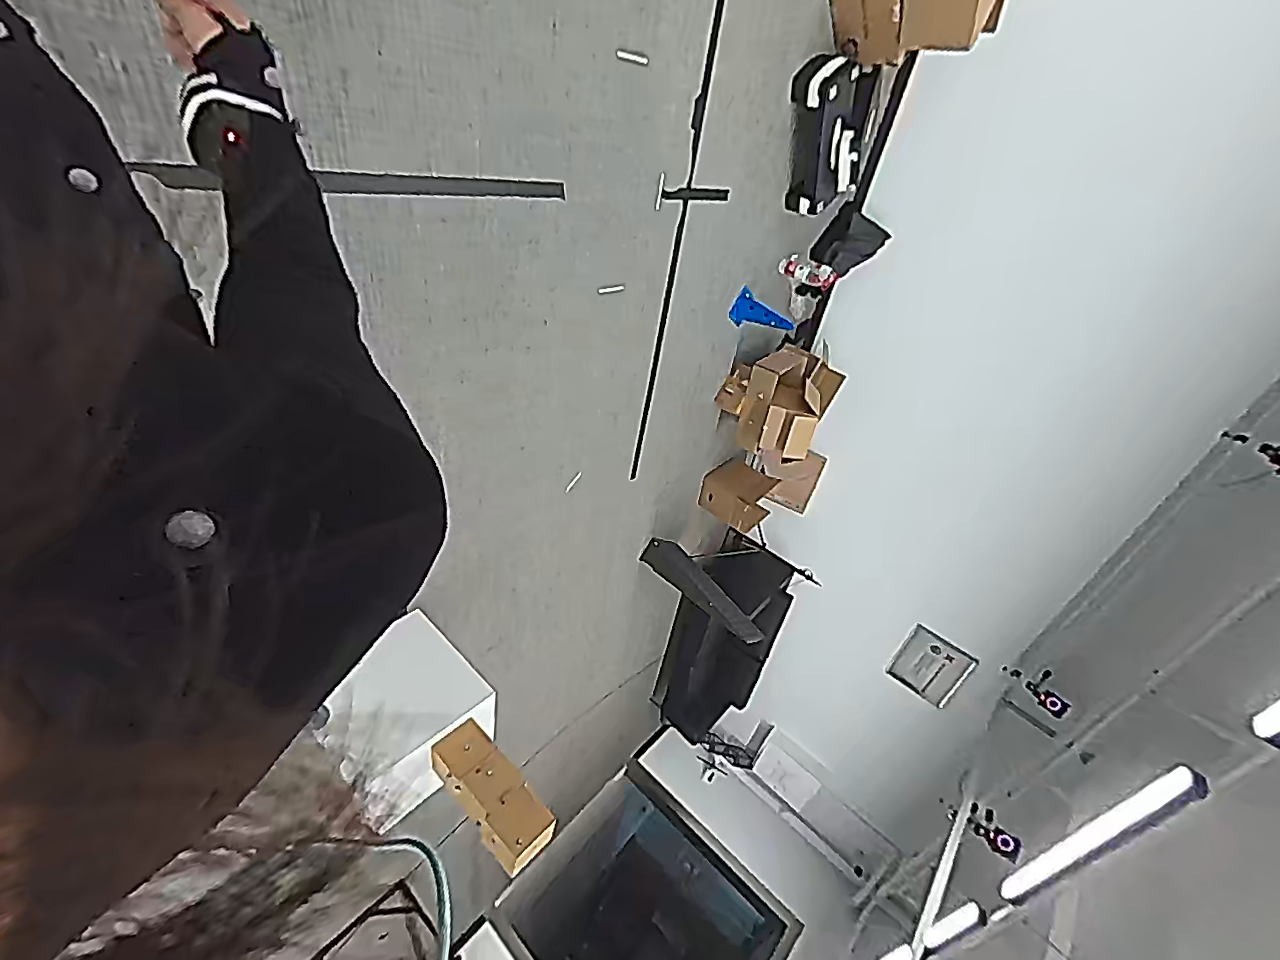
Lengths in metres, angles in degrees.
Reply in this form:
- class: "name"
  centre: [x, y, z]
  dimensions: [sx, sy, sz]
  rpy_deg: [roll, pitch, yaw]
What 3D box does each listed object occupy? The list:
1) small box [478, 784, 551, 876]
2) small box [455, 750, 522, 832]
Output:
- class: "small box"
  centre: [-0.437, 1.206, 1.876]
  dimensions: [0.179, 0.176, 0.168]
  rpy_deg: [-26, 142, -44]
- class: "small box"
  centre: [-0.552, 1.123, 1.957]
  dimensions: [0.168, 0.176, 0.179]
  rpy_deg: [-26, 141, -46]
